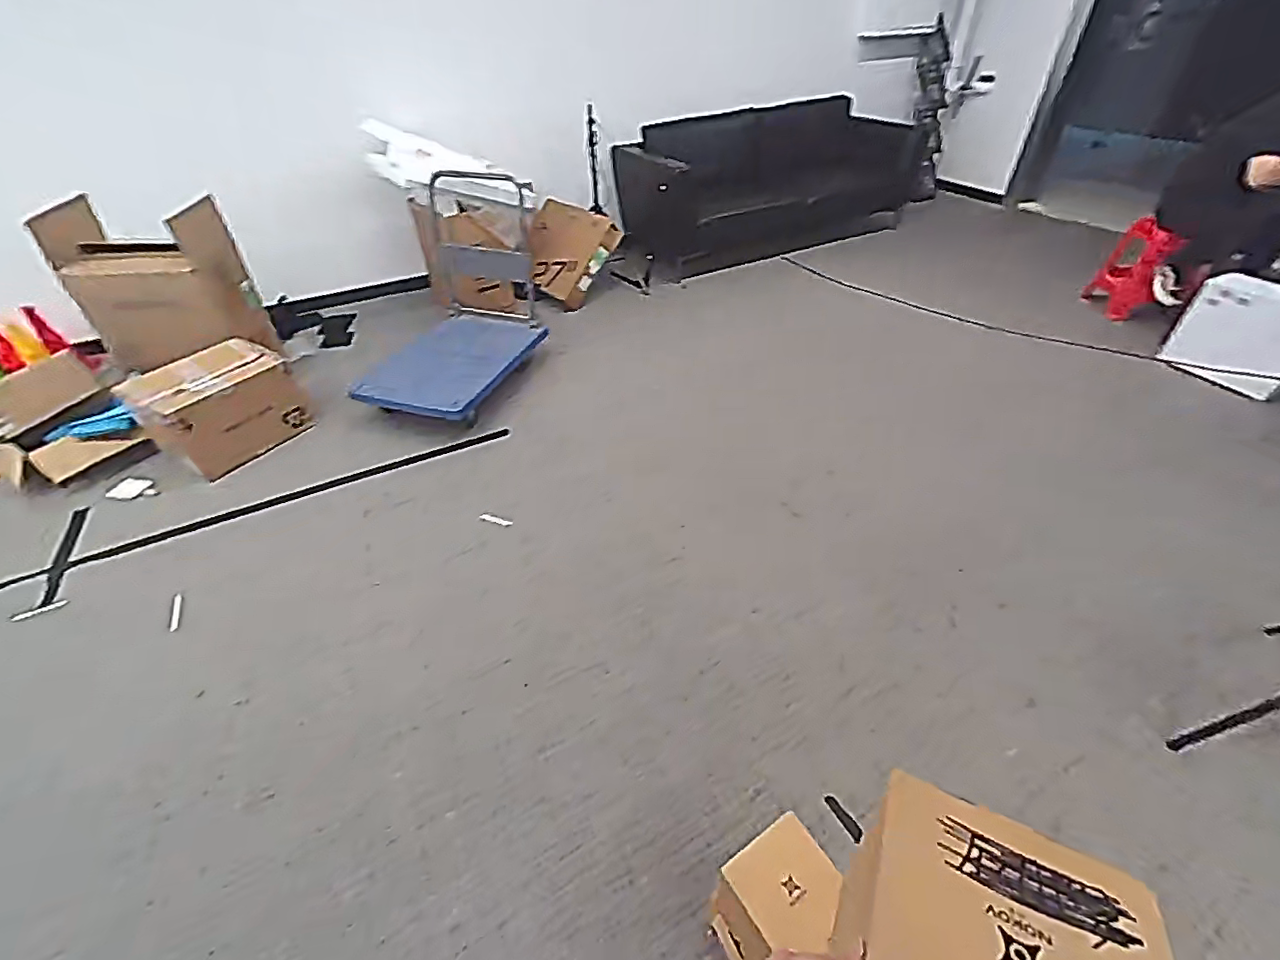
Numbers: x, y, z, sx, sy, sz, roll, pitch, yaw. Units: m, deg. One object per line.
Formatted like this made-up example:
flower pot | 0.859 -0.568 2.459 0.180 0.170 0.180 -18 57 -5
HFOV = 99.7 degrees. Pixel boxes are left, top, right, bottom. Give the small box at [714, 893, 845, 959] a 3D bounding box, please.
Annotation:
small box | 0.252 0.858 1.025 0.179 0.176 0.168 -18 43 -19

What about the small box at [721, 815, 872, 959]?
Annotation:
small box | 0.254 0.730 0.925 0.168 0.176 0.179 -24 46 -24
